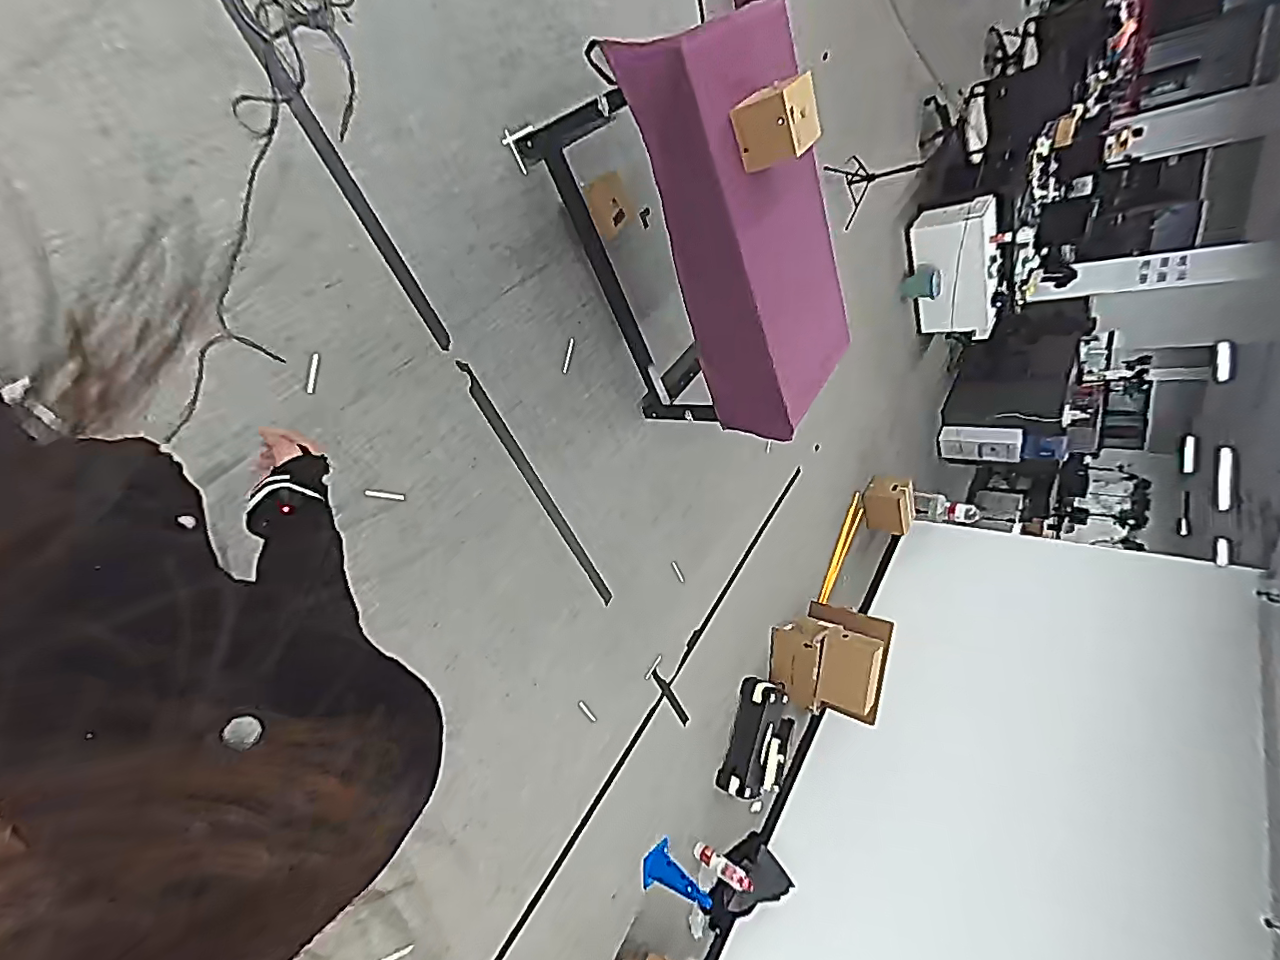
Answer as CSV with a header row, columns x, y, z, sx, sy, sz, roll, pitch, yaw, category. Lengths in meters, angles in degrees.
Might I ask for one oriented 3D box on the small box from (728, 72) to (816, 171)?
x,y,z,sx,sy,sz,roll,pitch,yaw,category
0.375,-1.013,1.535,0.179,0.176,0.168,-52,131,-30,small box
